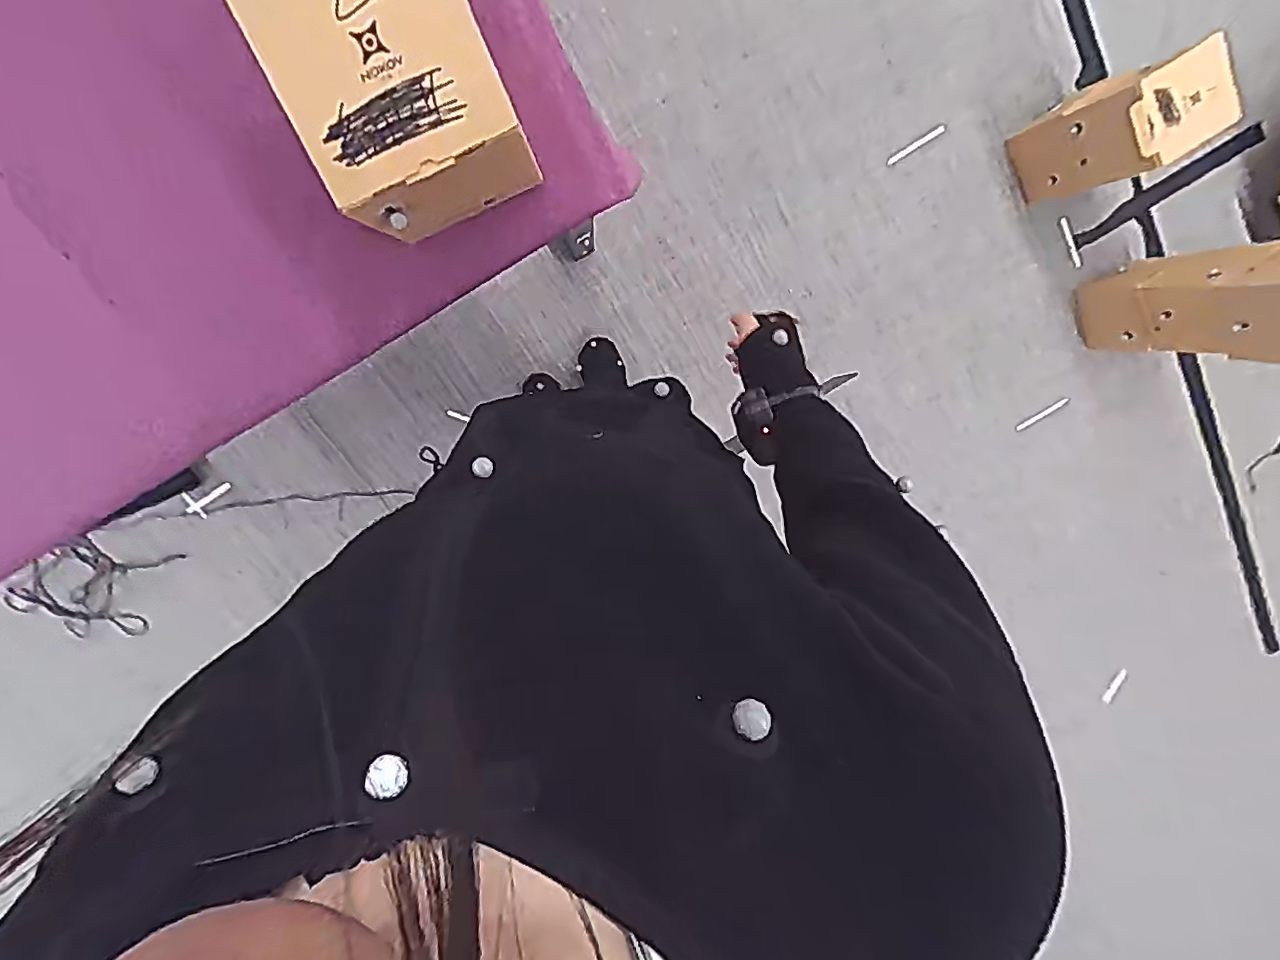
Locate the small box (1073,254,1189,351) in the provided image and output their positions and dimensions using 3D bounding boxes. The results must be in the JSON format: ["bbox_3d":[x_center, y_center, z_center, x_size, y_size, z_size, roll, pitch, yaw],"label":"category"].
[{"bbox_3d":[1.250,-0.447,1.365,0.168,0.176,0.179,-28,107,2],"label":"small box"}]

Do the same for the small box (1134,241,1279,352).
[{"bbox_3d":[1.277,-0.409,1.209,0.179,0.176,0.168,-32,107,5],"label":"small box"}]

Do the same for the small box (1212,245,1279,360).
[{"bbox_3d":[1.290,-0.349,1.057,0.168,0.176,0.179,-30,108,4],"label":"small box"}]

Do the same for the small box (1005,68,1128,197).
[{"bbox_3d":[0.997,-0.783,1.246,0.168,0.176,0.179,-35,105,4],"label":"small box"}]

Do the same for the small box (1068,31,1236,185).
[{"bbox_3d":[1.015,-0.733,1.091,0.179,0.176,0.168,-32,106,2],"label":"small box"}]
